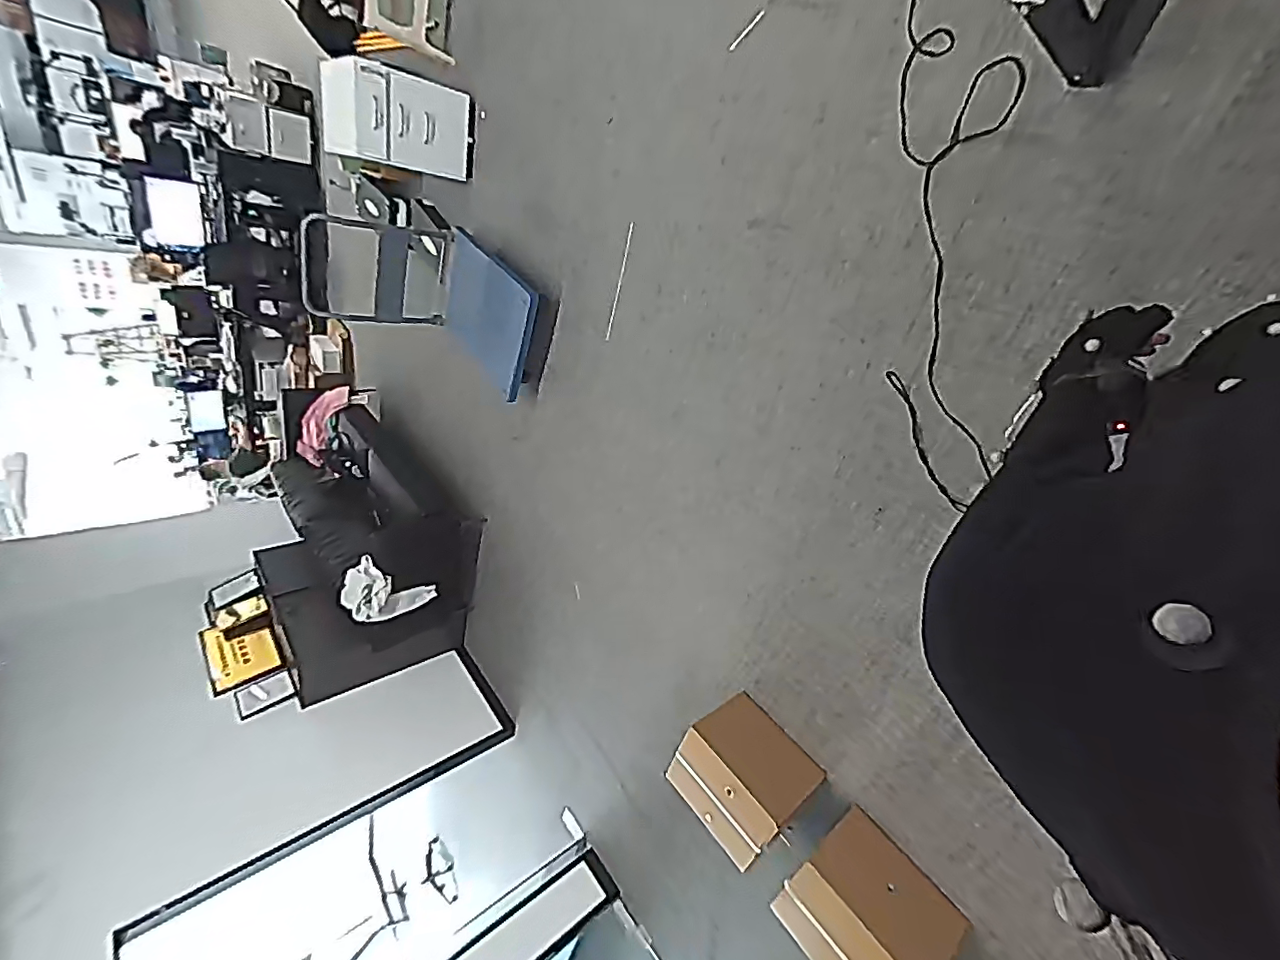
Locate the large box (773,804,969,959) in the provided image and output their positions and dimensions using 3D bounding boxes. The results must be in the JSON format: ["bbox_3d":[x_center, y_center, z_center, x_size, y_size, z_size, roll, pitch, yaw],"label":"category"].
[{"bbox_3d":[0.699,1.325,1.667,0.408,0.320,0.320,39,126,33],"label":"large box"}]
